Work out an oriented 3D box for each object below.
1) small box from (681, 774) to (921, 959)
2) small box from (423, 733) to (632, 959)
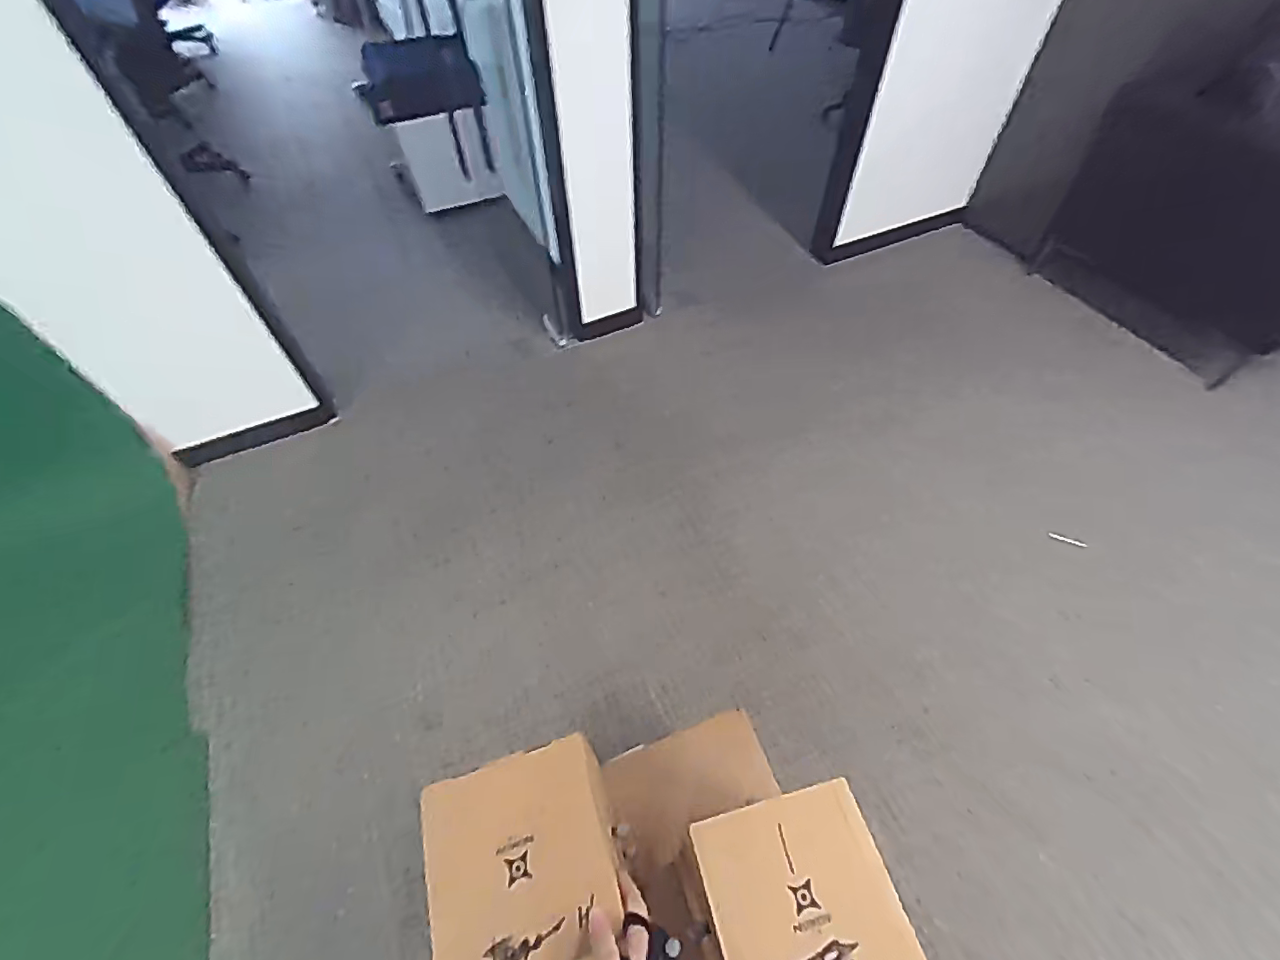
[{"bbox_3d":[0.143,0.424,0.537,0.168,0.176,0.179,-13,51,-9],"label":"small box"},{"bbox_3d":[-0.112,0.398,0.563,0.168,0.176,0.179,-16,53,-9],"label":"small box"}]
